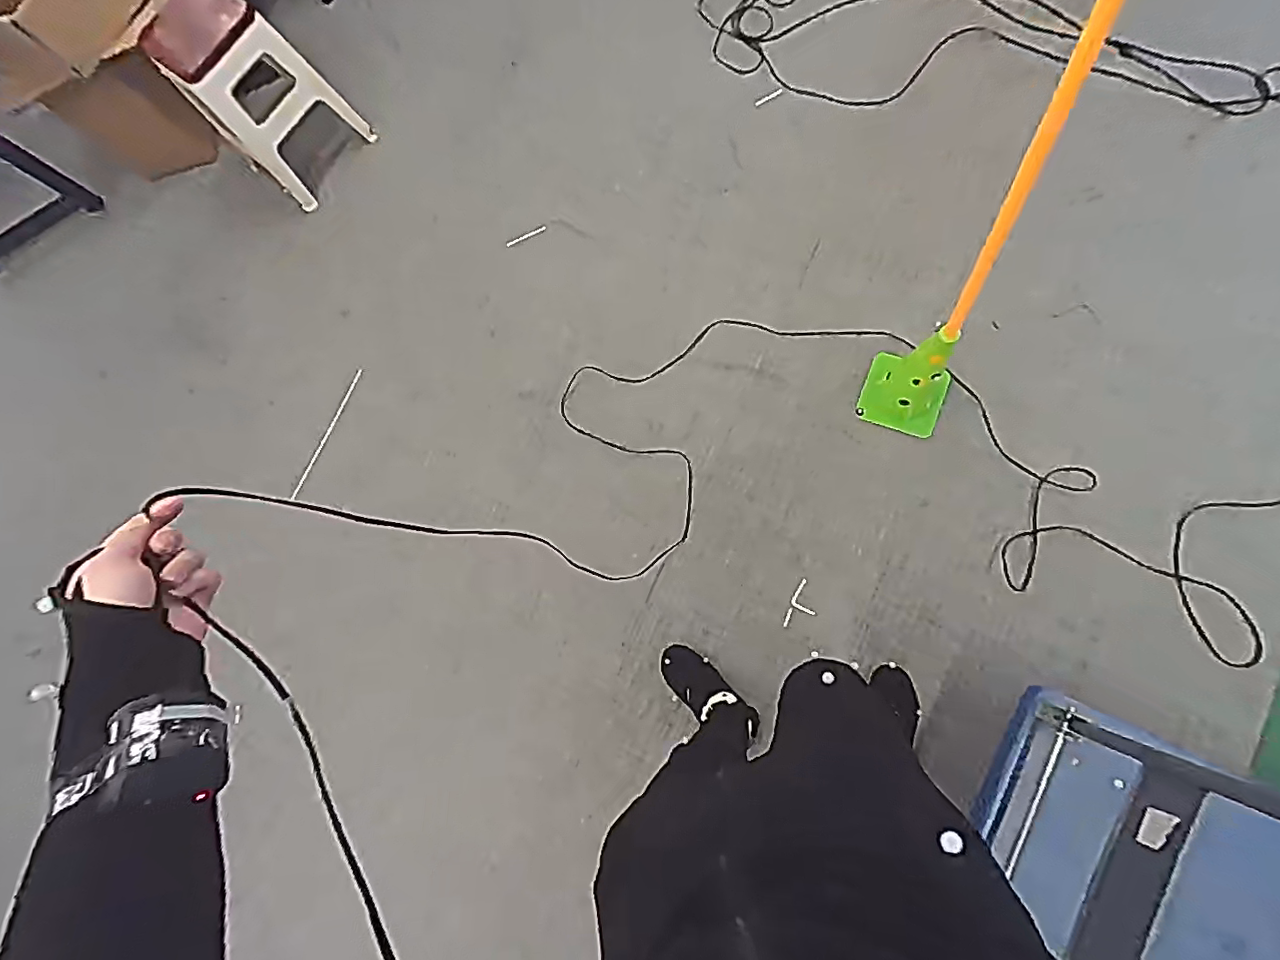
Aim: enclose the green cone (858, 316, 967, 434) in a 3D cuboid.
[{"bbox_3d":[0.672,-0.271,1.265,0.200,0.368,0.202,20,81,13],"label":"green cone"}]
